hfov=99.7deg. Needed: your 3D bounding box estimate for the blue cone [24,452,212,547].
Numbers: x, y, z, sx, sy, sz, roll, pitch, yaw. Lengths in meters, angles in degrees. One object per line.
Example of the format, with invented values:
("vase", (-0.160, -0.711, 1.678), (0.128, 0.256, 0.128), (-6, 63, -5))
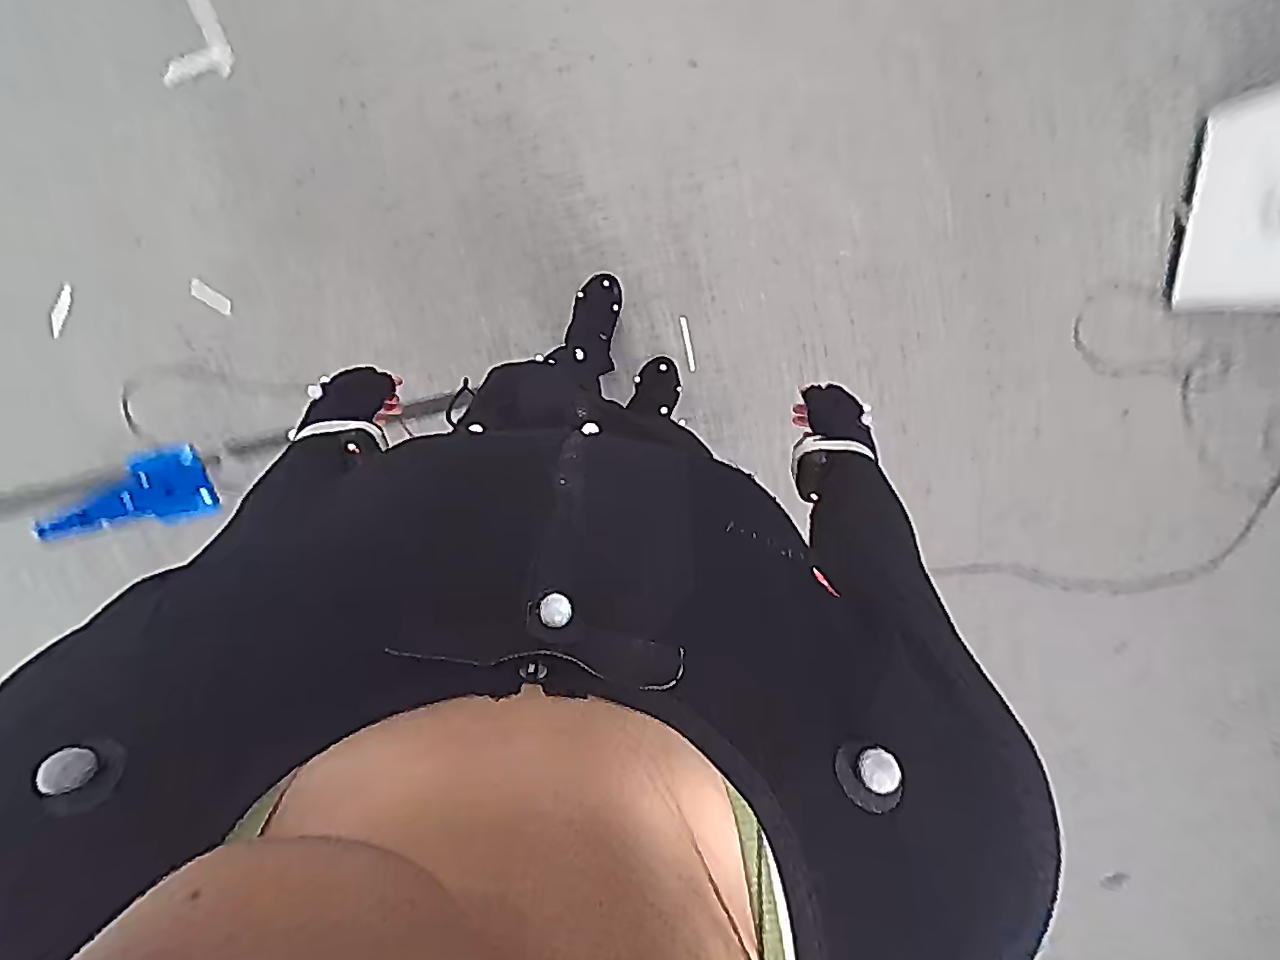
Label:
("blue cone", (-1.297, 0.072, 1.339), (0.192, 0.380, 0.193), (-13, 107, 4))
